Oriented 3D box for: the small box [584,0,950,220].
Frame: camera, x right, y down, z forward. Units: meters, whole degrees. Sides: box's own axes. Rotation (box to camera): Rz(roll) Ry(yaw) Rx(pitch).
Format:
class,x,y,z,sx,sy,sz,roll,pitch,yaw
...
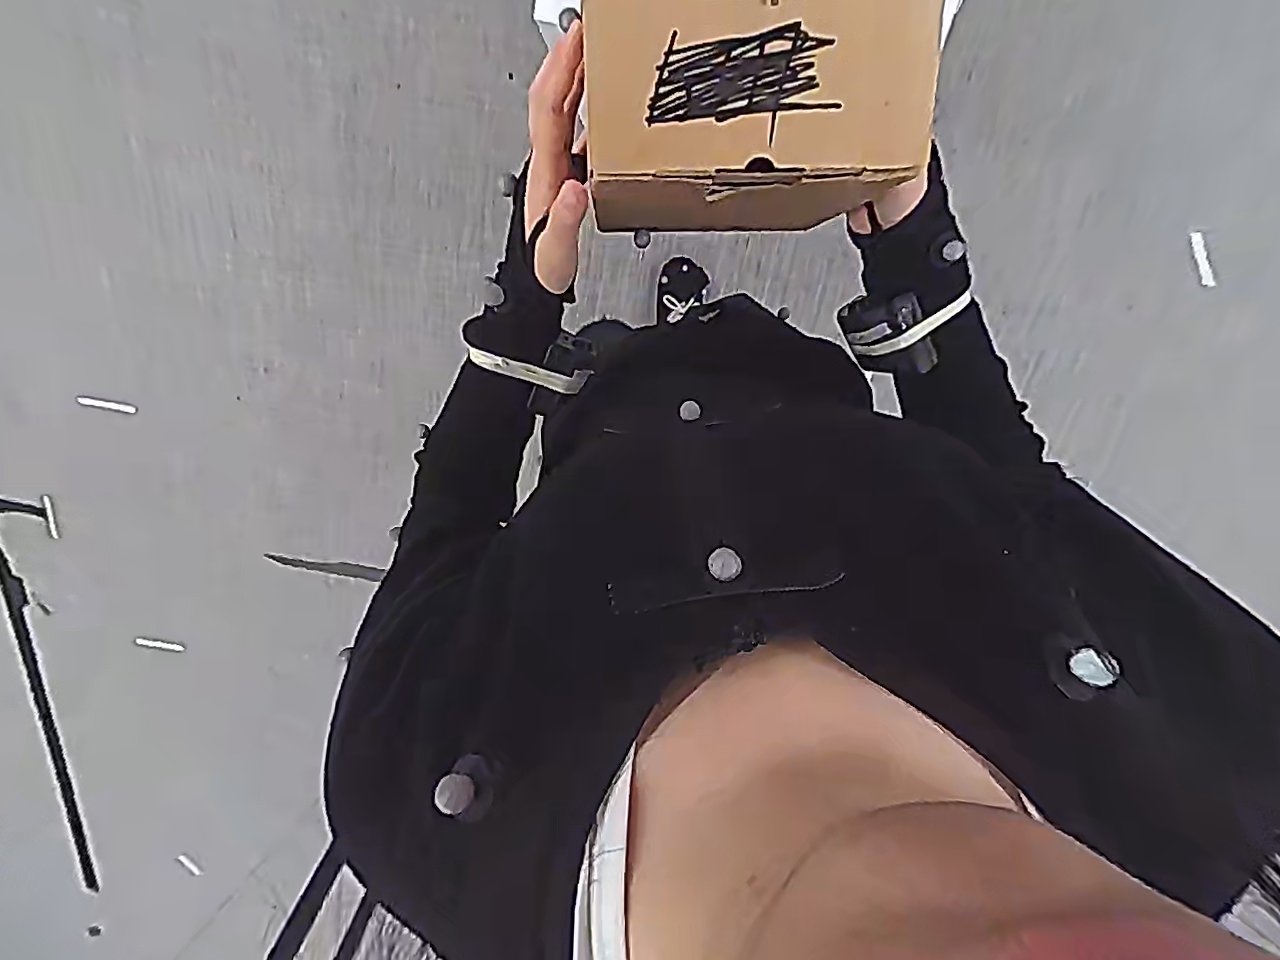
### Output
class,x,y,z,sx,sy,sz,roll,pitch,yaw
small box,0.054,-0.255,0.310,0.168,0.176,0.179,-2,106,-2
